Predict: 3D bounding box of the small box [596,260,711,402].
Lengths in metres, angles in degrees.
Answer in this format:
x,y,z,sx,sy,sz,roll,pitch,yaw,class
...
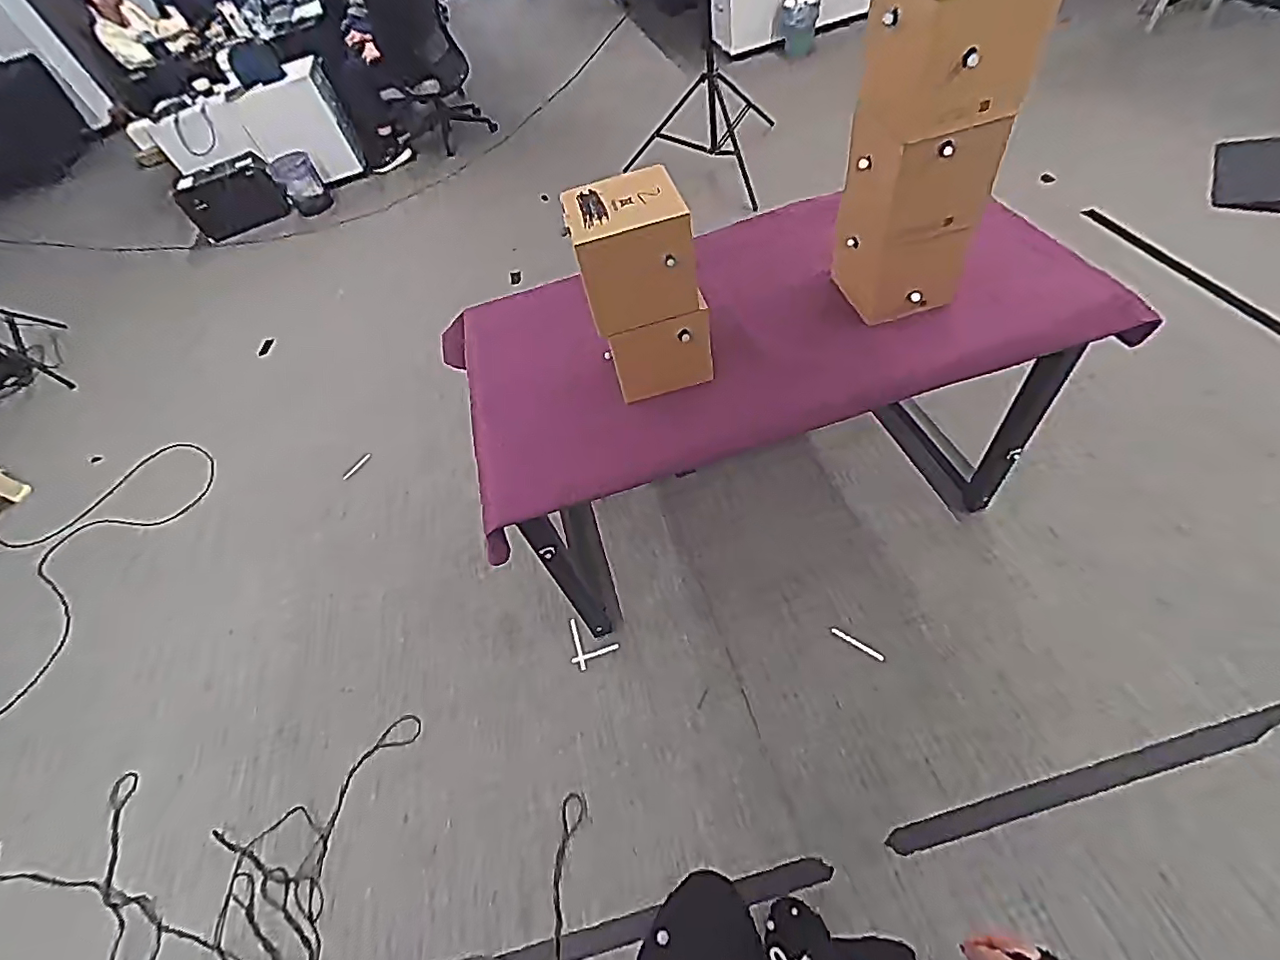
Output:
x,y,z,sx,sy,sz,roll,pitch,yaw,class
0.029,-0.273,1.010,0.179,0.176,0.168,-16,53,1,small box

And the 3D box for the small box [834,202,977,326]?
x,y,z,sx,sy,sz,roll,pitch,yaw,class
0.483,-0.423,1.018,0.168,0.176,0.179,-16,53,1,small box

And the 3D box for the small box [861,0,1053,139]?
x,y,z,sx,sy,sz,roll,pitch,yaw,class
0.428,-0.601,0.749,0.168,0.176,0.179,-15,53,3,small box

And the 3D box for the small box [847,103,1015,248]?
x,y,z,sx,sy,sz,roll,pitch,yaw,class
0.455,-0.513,0.884,0.168,0.176,0.179,-15,52,3,small box
